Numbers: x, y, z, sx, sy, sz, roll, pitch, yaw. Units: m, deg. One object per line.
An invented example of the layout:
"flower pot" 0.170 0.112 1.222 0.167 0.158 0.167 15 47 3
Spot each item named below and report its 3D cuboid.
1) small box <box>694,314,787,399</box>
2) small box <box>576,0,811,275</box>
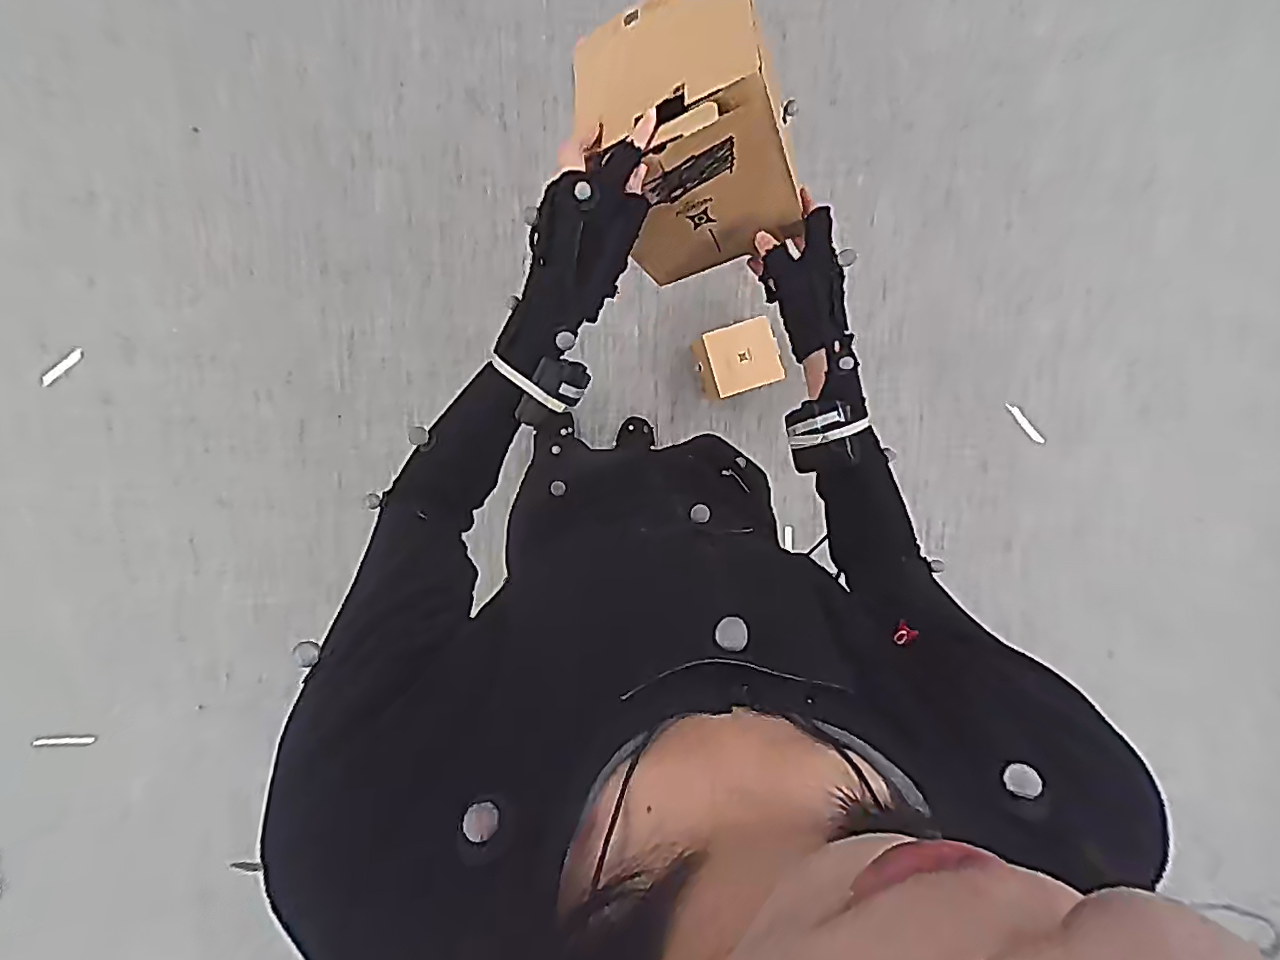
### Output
"small box" 0.256 -0.314 1.406 0.179 0.176 0.168 -18 96 -1
"small box" 0.052 -0.339 0.512 0.168 0.179 0.176 -12 68 25
